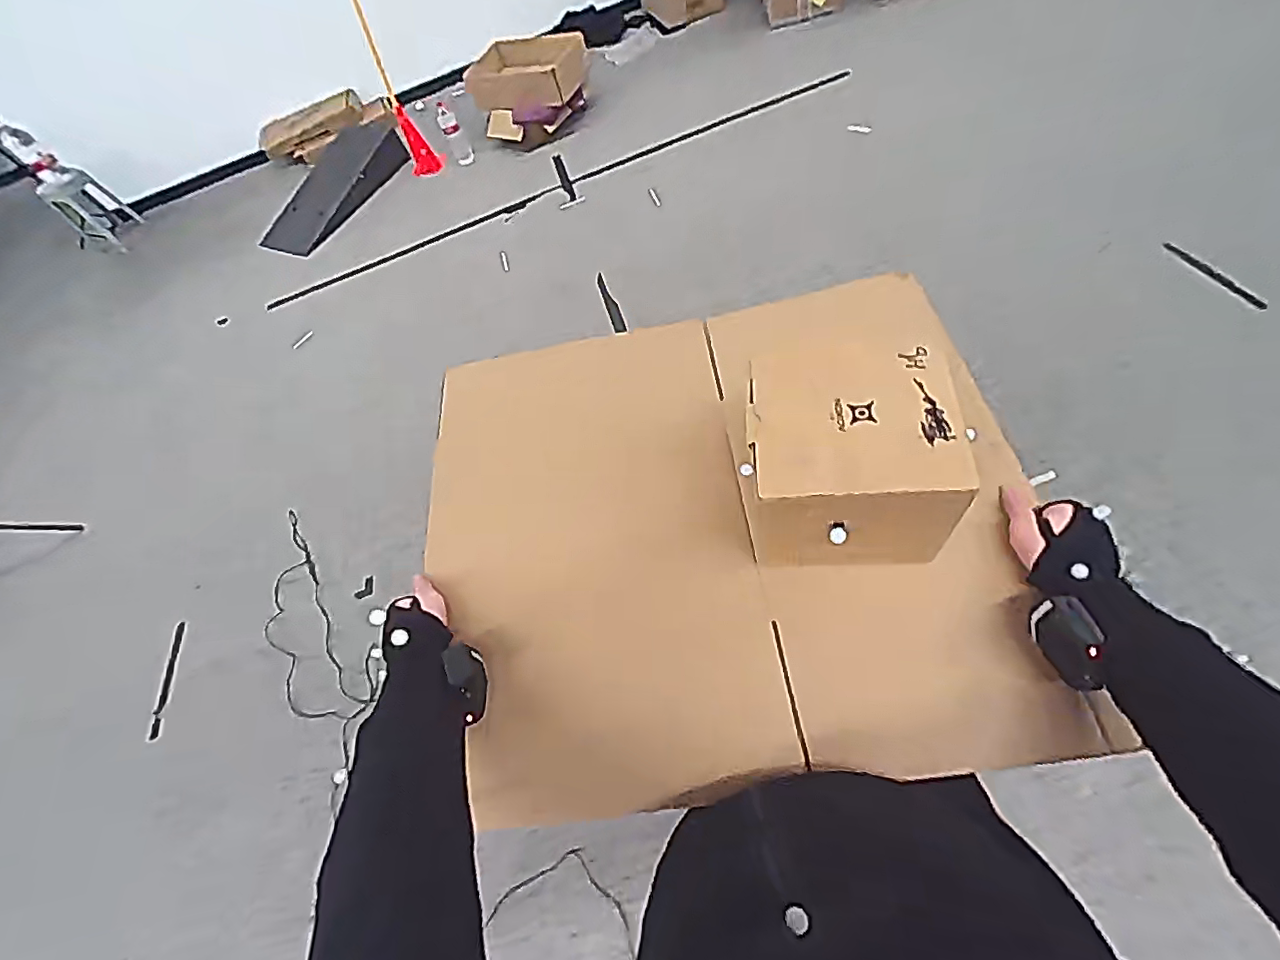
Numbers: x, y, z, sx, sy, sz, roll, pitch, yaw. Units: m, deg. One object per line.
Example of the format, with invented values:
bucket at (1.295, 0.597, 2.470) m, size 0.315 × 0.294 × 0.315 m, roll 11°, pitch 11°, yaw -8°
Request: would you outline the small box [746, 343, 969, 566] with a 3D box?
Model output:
small box at (0.208, -0.015, 0.561) m, size 0.179 × 0.176 × 0.168 m, roll -4°, pitch 61°, yaw 14°
